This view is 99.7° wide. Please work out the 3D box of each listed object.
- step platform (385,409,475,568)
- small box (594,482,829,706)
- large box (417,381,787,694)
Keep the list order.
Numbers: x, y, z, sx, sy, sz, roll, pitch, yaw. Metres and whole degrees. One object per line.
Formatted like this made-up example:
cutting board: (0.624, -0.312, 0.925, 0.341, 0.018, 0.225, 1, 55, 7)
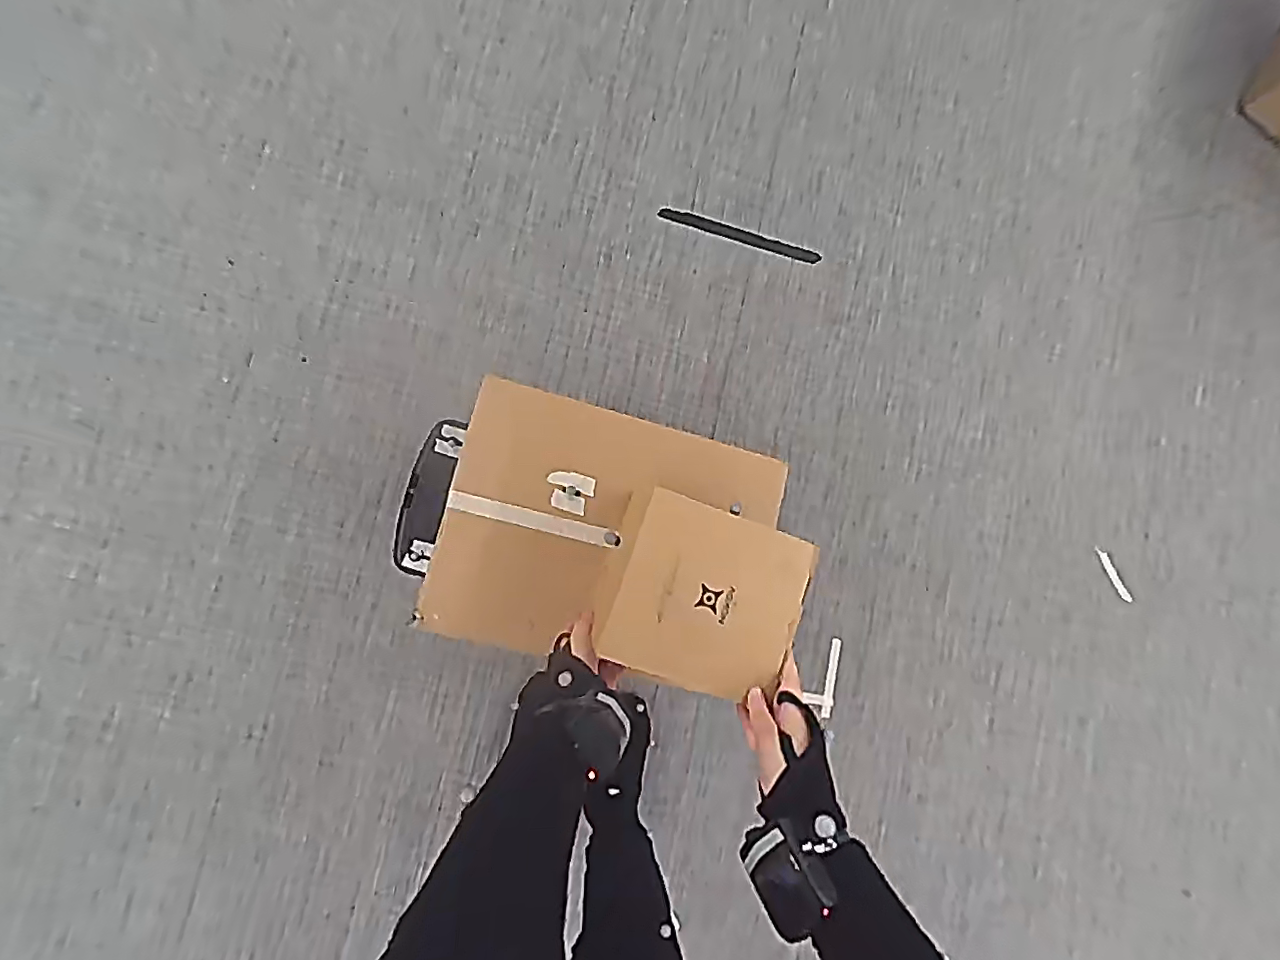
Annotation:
step platform: (-0.108, 0.110, 1.039, 0.684, 0.204, 0.286, 20, 83, -6)
small box: (0.061, 0.108, 0.574, 0.179, 0.176, 0.168, 21, 84, -6)
large box: (-0.051, 0.082, 0.808, 0.408, 0.320, 0.320, 15, 83, -6)
